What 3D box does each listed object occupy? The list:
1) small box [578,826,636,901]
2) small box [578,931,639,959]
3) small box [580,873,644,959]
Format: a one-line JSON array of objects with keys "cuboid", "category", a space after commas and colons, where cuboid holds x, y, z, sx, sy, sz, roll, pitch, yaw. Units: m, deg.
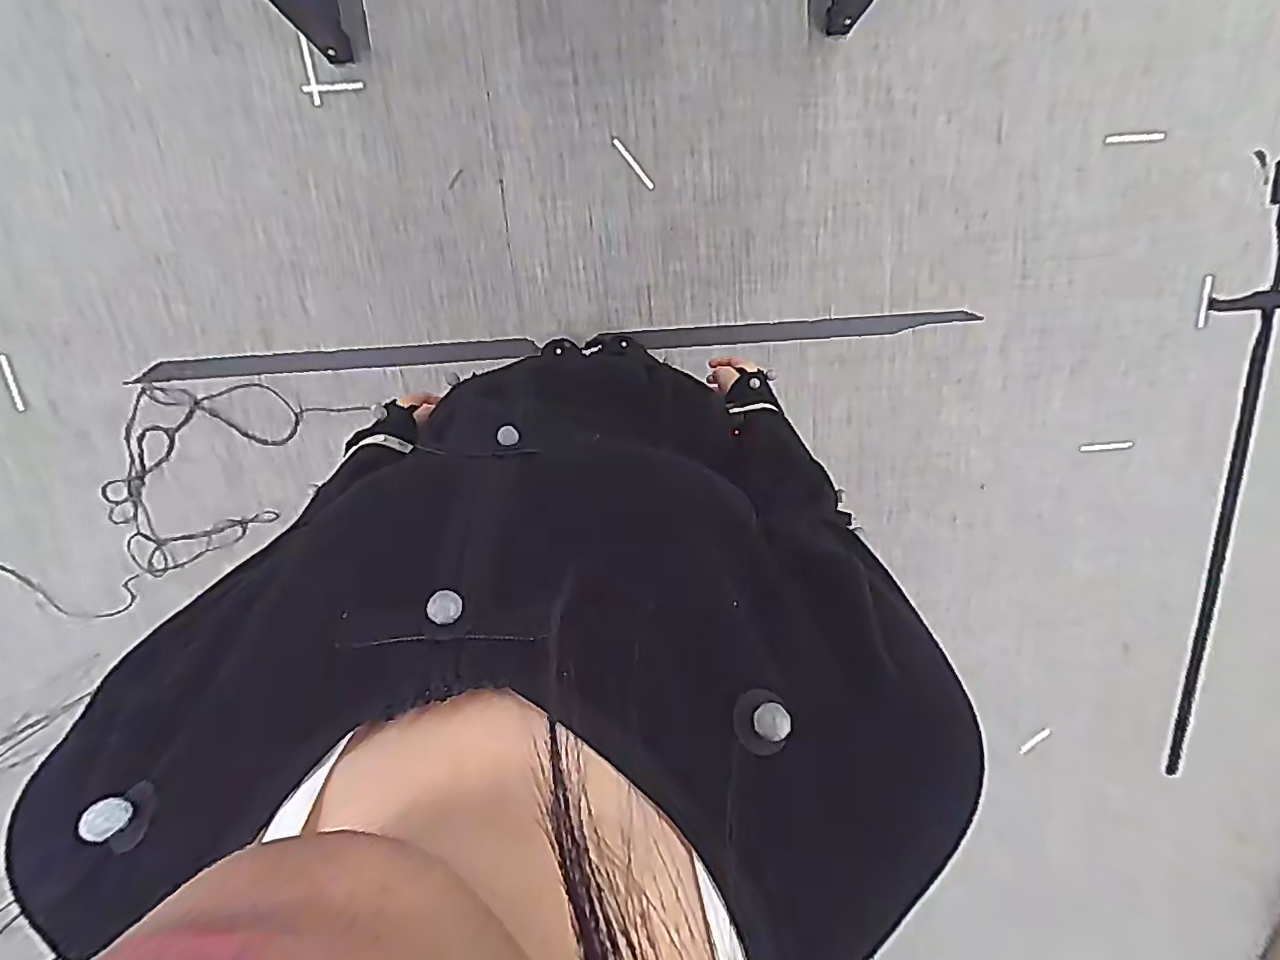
[{"cuboid": [-0.105, 1.263, 1.751, 0.179, 0.176, 0.168, -5, 105, -3], "category": "small box"}, {"cuboid": [-0.080, 1.344, 1.435, 0.168, 0.176, 0.179, -4, 104, -4], "category": "small box"}, {"cuboid": [-0.085, 1.300, 1.592, 0.179, 0.176, 0.168, -3, 104, -4], "category": "small box"}]
